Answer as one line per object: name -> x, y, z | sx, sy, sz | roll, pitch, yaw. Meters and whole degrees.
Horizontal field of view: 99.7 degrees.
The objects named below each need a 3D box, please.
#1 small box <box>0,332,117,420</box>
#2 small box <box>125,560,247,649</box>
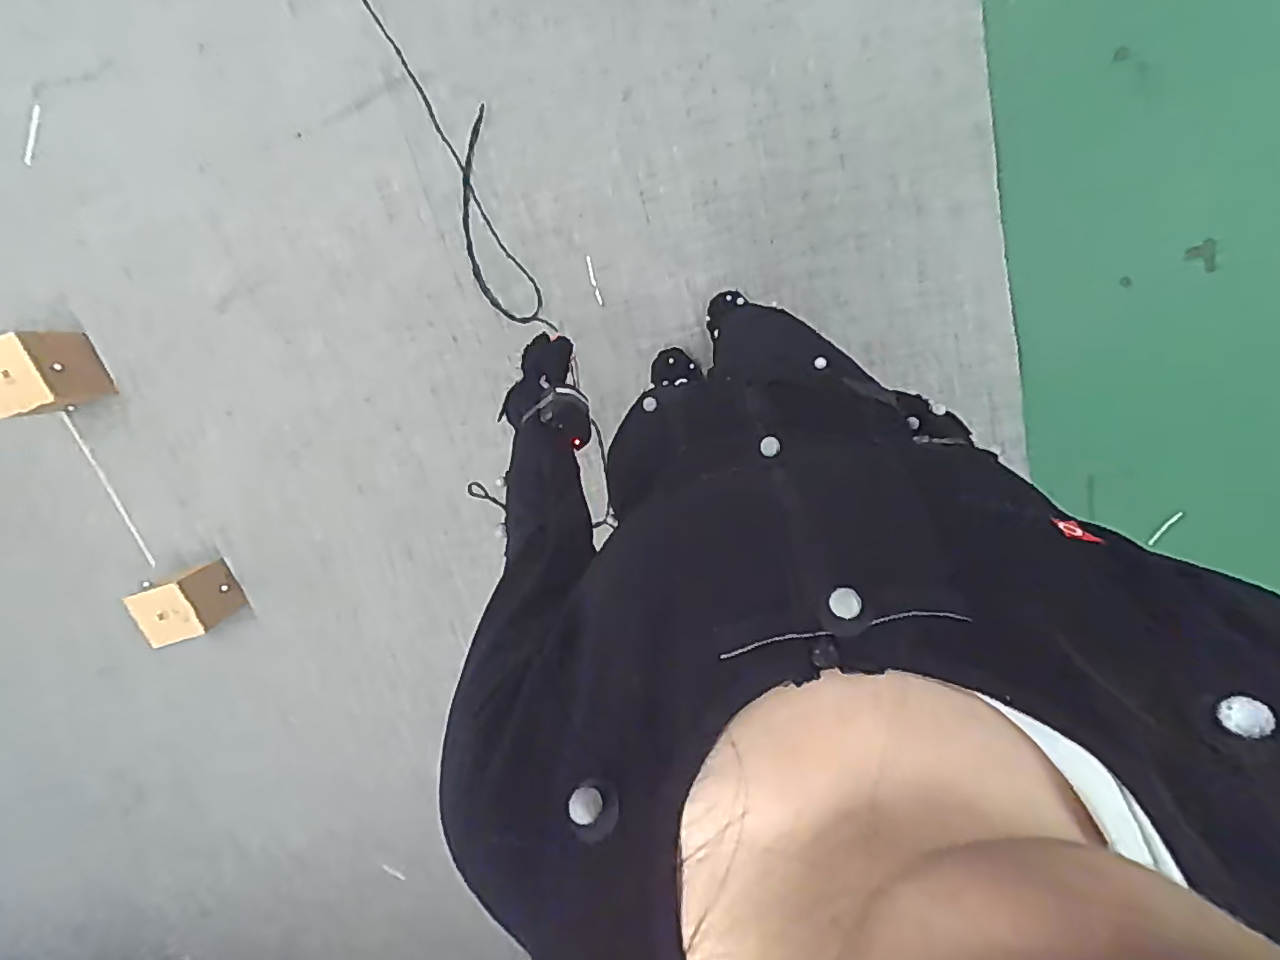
small box -> -1.521, -0.269, 1.382 | 0.168, 0.176, 0.179 | -17, 106, 6
small box -> -1.297, 0.354, 1.559 | 0.179, 0.176, 0.168 | -17, 105, 6
